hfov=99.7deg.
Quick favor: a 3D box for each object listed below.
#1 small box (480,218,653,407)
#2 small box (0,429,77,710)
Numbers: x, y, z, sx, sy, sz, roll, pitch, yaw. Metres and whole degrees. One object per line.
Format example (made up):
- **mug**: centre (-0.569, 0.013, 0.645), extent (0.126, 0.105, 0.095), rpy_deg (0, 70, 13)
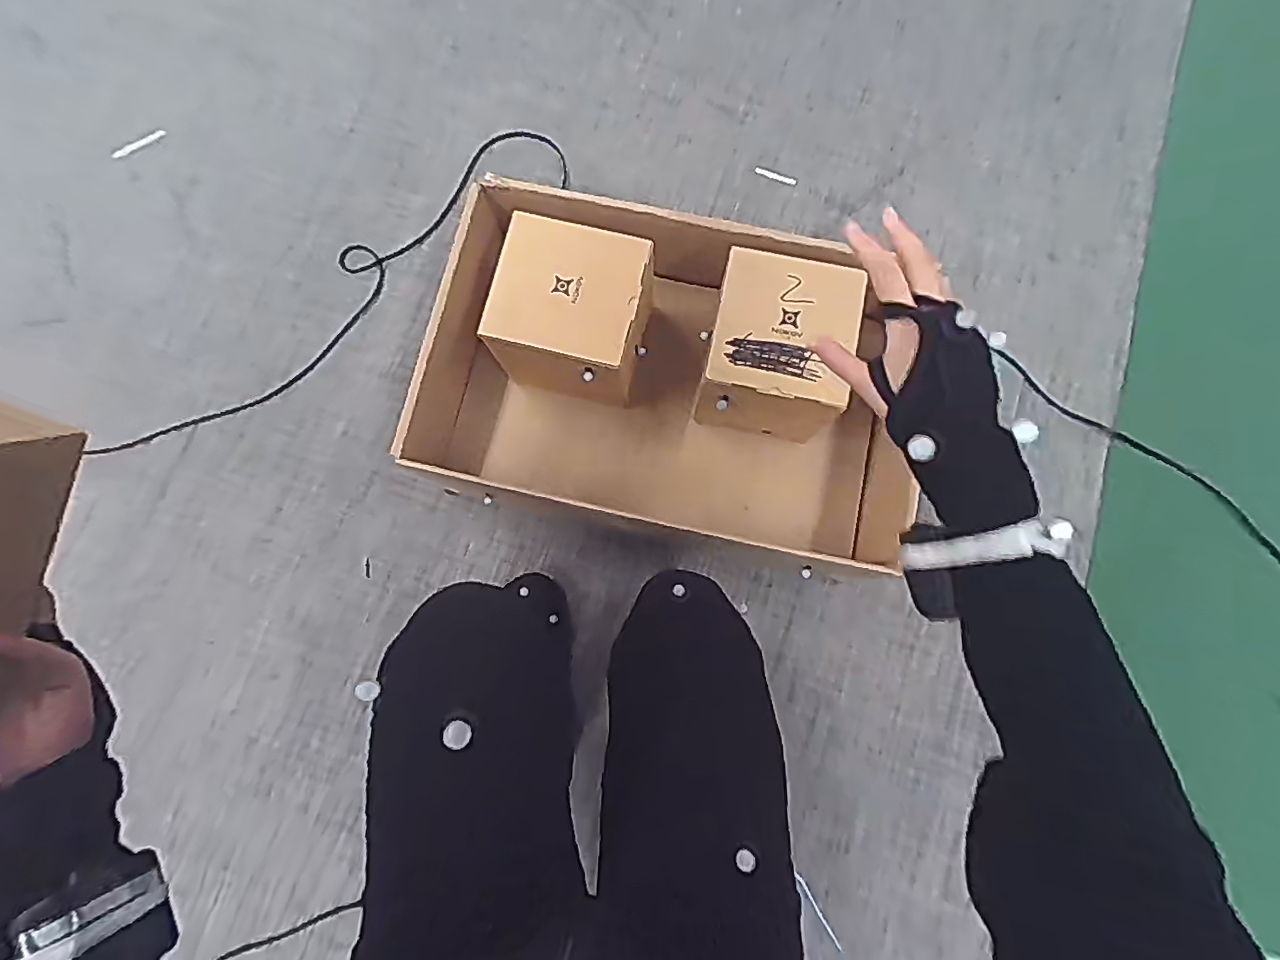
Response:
- **small box**: centre (-0.086, -0.209, 0.720), extent (0.179, 0.176, 0.168), rpy_deg (13, 81, 2)
- **small box**: centre (-0.397, 0.044, 0.214), extent (0.168, 0.176, 0.179), rpy_deg (23, 97, -11)
